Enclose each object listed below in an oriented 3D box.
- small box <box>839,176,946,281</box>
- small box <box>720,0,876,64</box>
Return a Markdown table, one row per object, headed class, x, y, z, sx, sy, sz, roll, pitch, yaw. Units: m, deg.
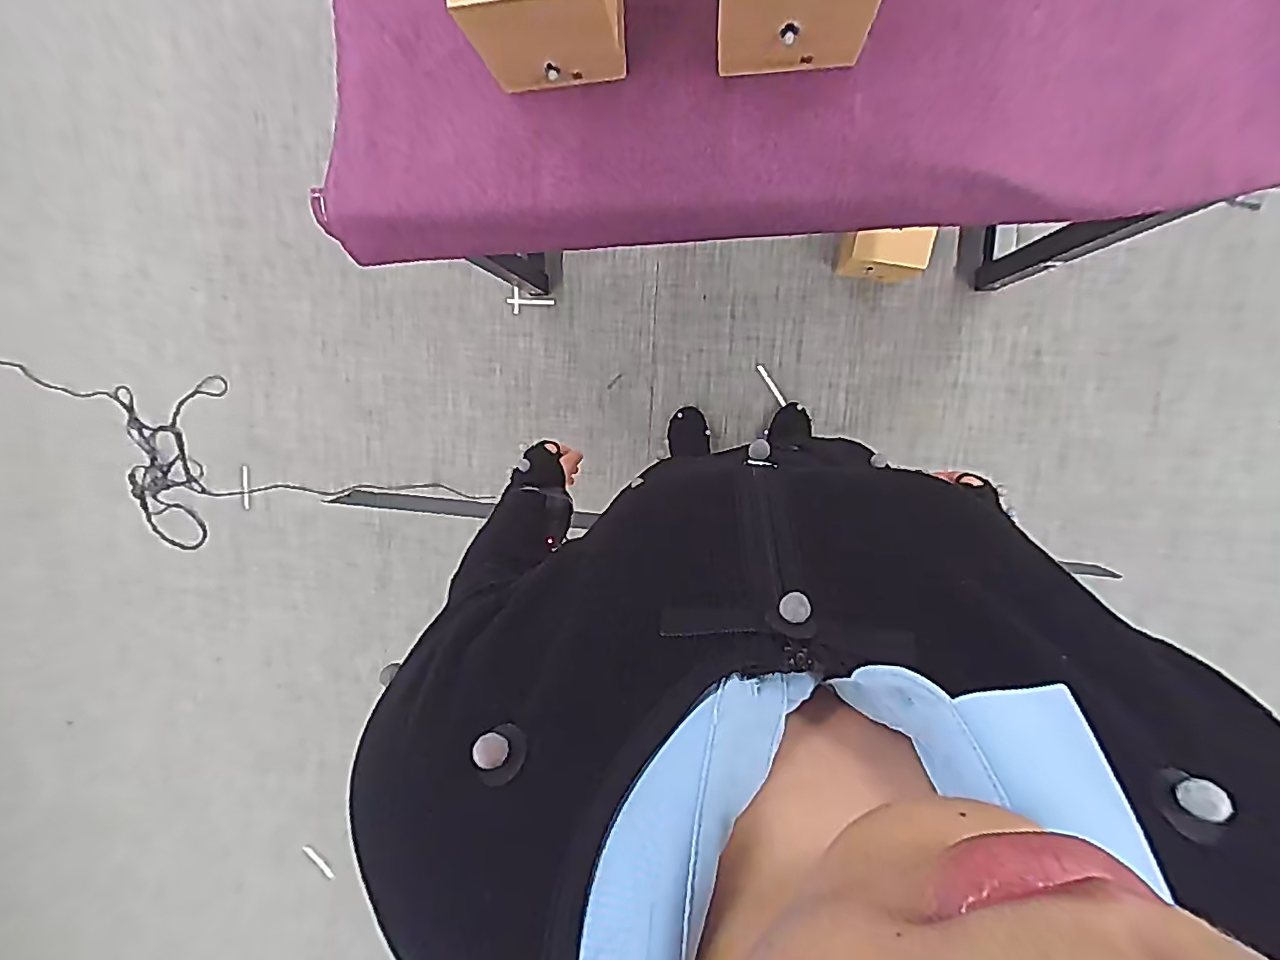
| class | x | y | z | sx | sy | sz | roll | pitch | yaw |
| --- | --- | --- | --- | --- | --- | --- | --- | --- | --- |
| small box | 0.581 | -0.581 | 1.271 | 0.168 | 0.176 | 0.179 | 12 | 99 | 6 |
| small box | 0.173 | -0.585 | 0.581 | 0.168 | 0.176 | 0.179 | 1 | 98 | 7 |
